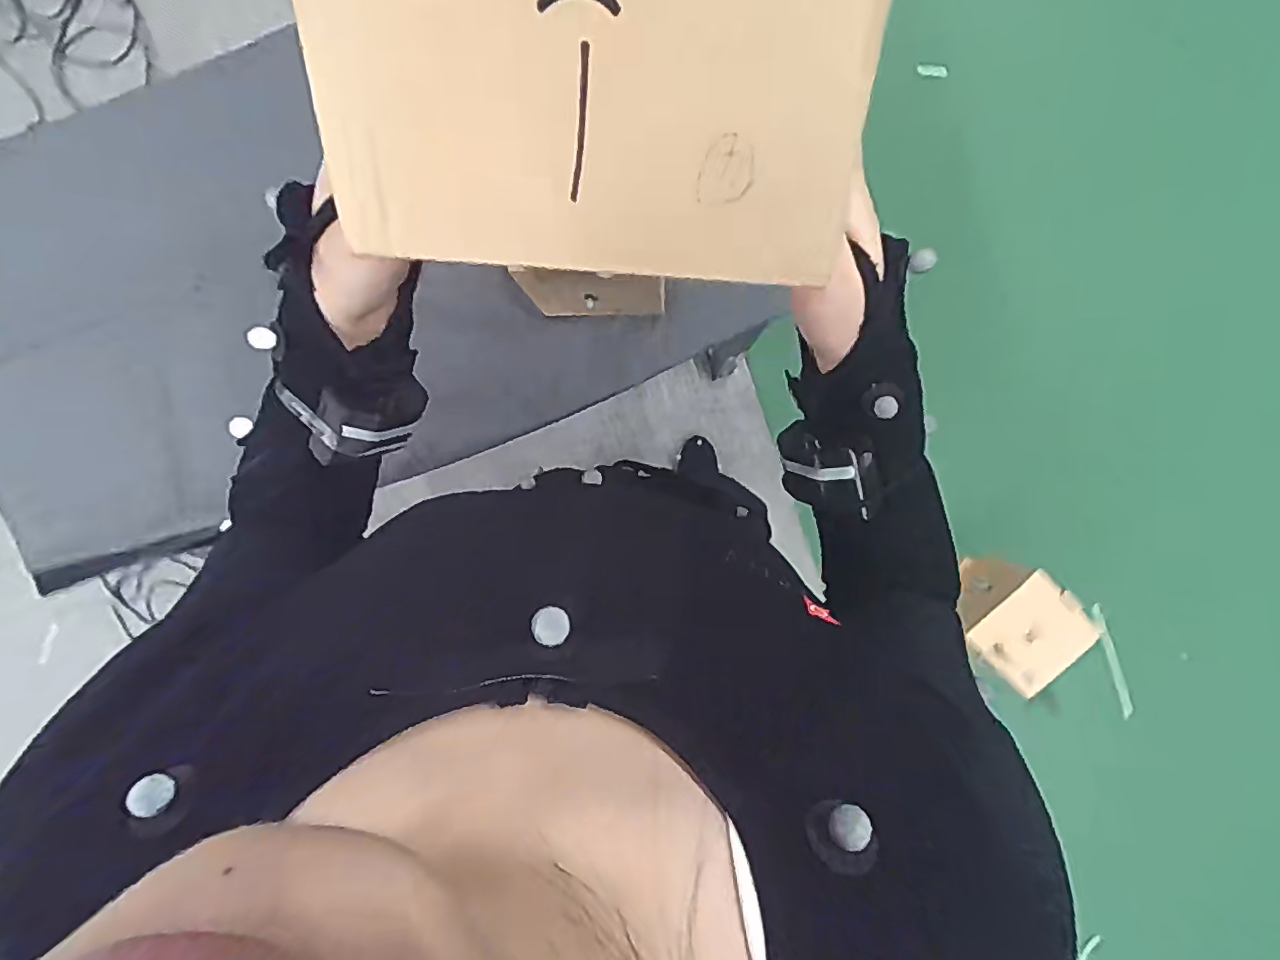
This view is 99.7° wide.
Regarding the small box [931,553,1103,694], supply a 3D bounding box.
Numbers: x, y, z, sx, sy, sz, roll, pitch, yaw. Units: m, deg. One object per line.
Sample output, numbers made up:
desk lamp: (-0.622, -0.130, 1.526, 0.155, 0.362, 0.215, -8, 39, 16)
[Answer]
small box: (0.709, 0.263, 1.042, 0.168, 0.176, 0.179, 45, 95, 0)
